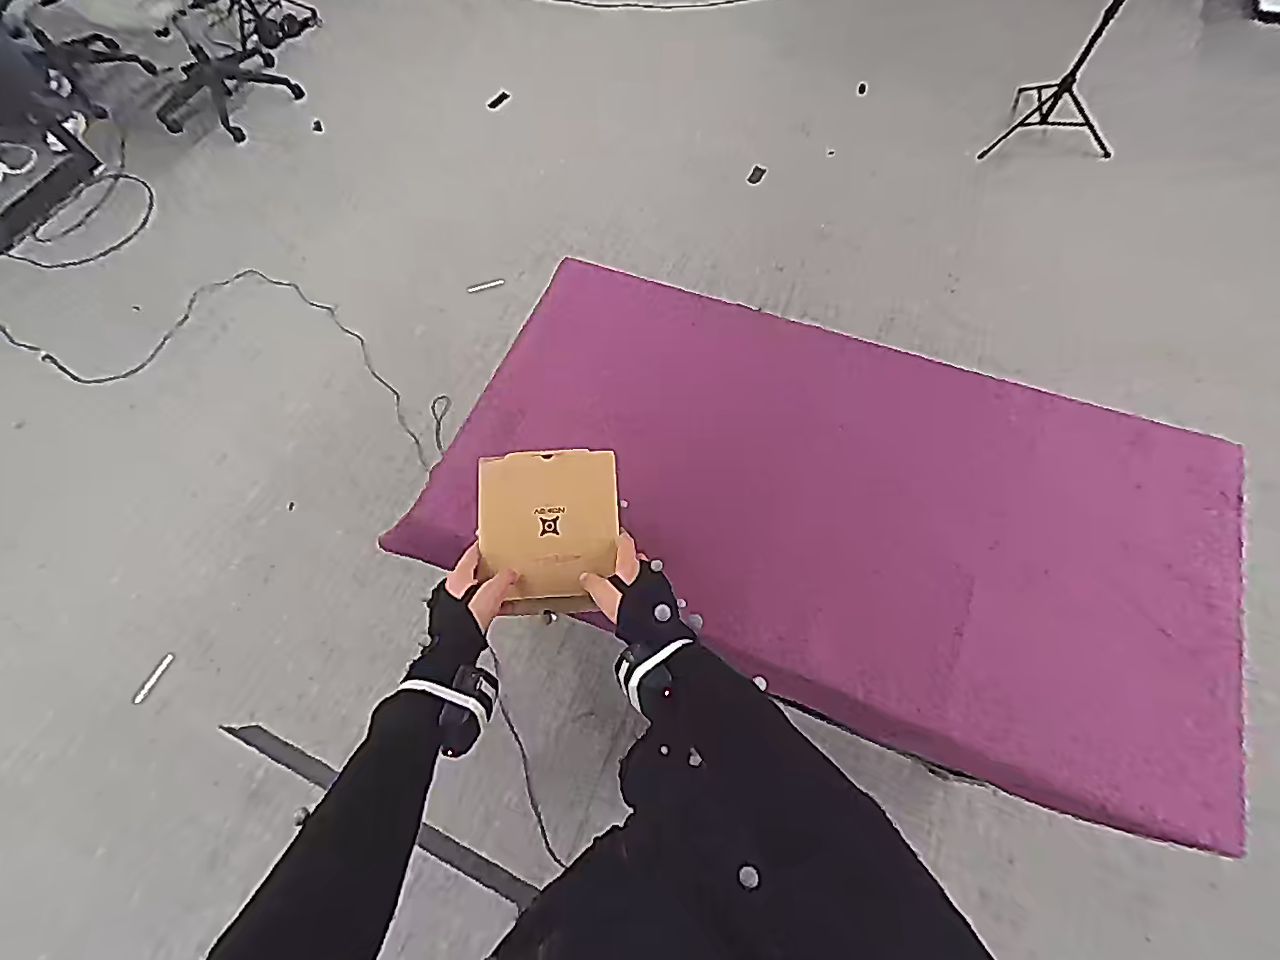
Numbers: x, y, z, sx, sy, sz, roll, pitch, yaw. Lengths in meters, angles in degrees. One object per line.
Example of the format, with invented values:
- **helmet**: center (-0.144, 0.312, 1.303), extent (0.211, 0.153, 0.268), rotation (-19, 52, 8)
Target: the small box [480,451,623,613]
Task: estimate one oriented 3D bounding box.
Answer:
- **small box**: center (-0.111, 0.075, 0.724), extent (0.168, 0.176, 0.179), rotation (-2, 69, -4)
